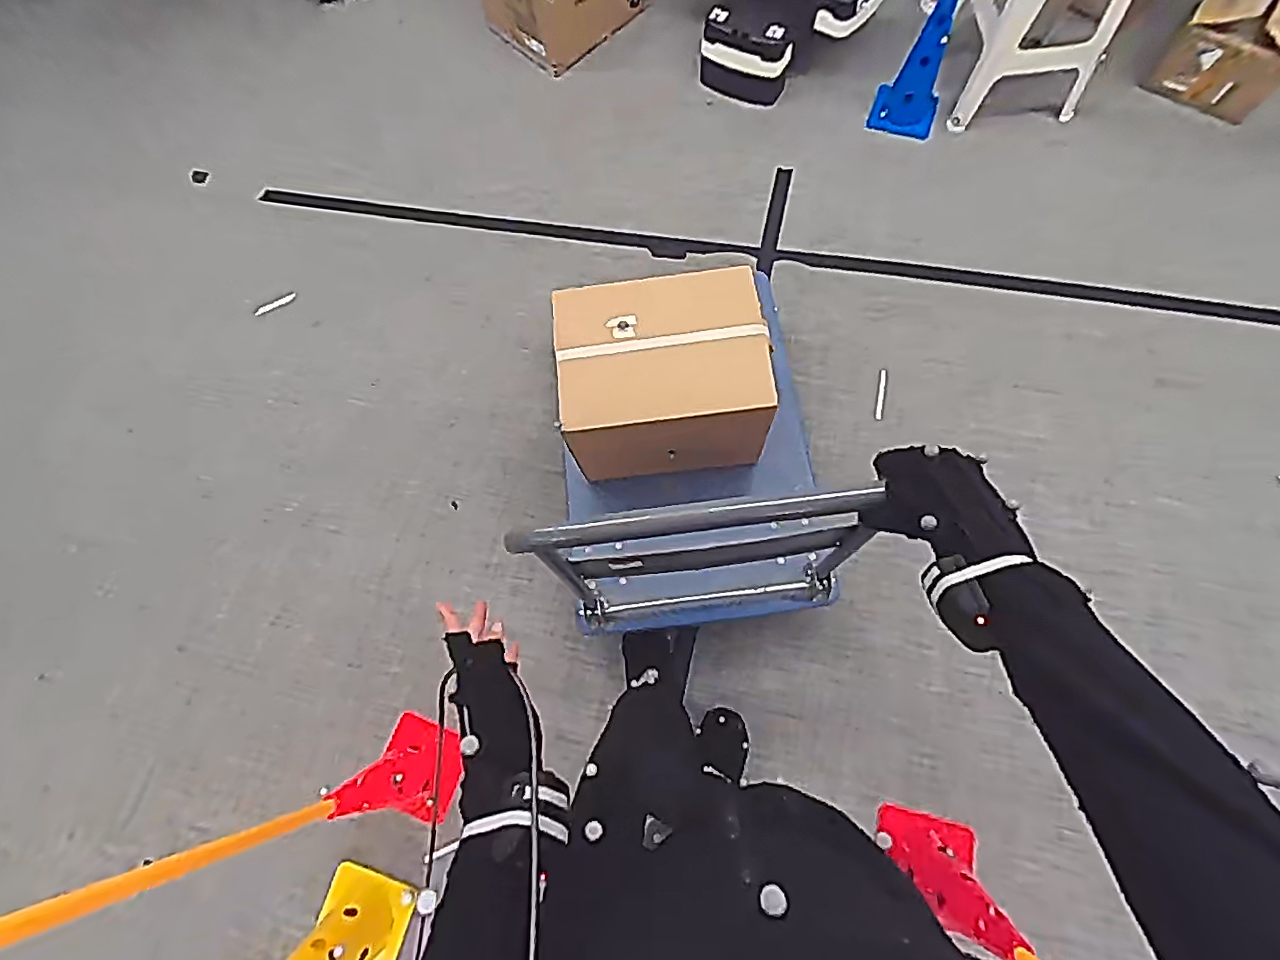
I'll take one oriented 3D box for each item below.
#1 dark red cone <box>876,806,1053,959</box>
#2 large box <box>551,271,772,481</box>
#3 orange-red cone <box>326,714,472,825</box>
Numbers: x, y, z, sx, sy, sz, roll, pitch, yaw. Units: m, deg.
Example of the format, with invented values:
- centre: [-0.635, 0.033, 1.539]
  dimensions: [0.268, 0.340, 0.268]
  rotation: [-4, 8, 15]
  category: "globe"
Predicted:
- centre: [0.588, 0.755, 0.967]
  dimensions: [0.201, 0.394, 0.202]
  rotation: [12, 74, 6]
  category: "dark red cone"
- centre: [0.045, -0.205, 1.185]
  dimensions: [0.408, 0.320, 0.320]
  rotation: [-7, 72, 3]
  category: "large box"
- centre: [-0.529, 0.627, 1.120]
  dimensions: [0.198, 0.360, 0.199]
  rotation: [19, 73, 9]
  category: "orange-red cone"
